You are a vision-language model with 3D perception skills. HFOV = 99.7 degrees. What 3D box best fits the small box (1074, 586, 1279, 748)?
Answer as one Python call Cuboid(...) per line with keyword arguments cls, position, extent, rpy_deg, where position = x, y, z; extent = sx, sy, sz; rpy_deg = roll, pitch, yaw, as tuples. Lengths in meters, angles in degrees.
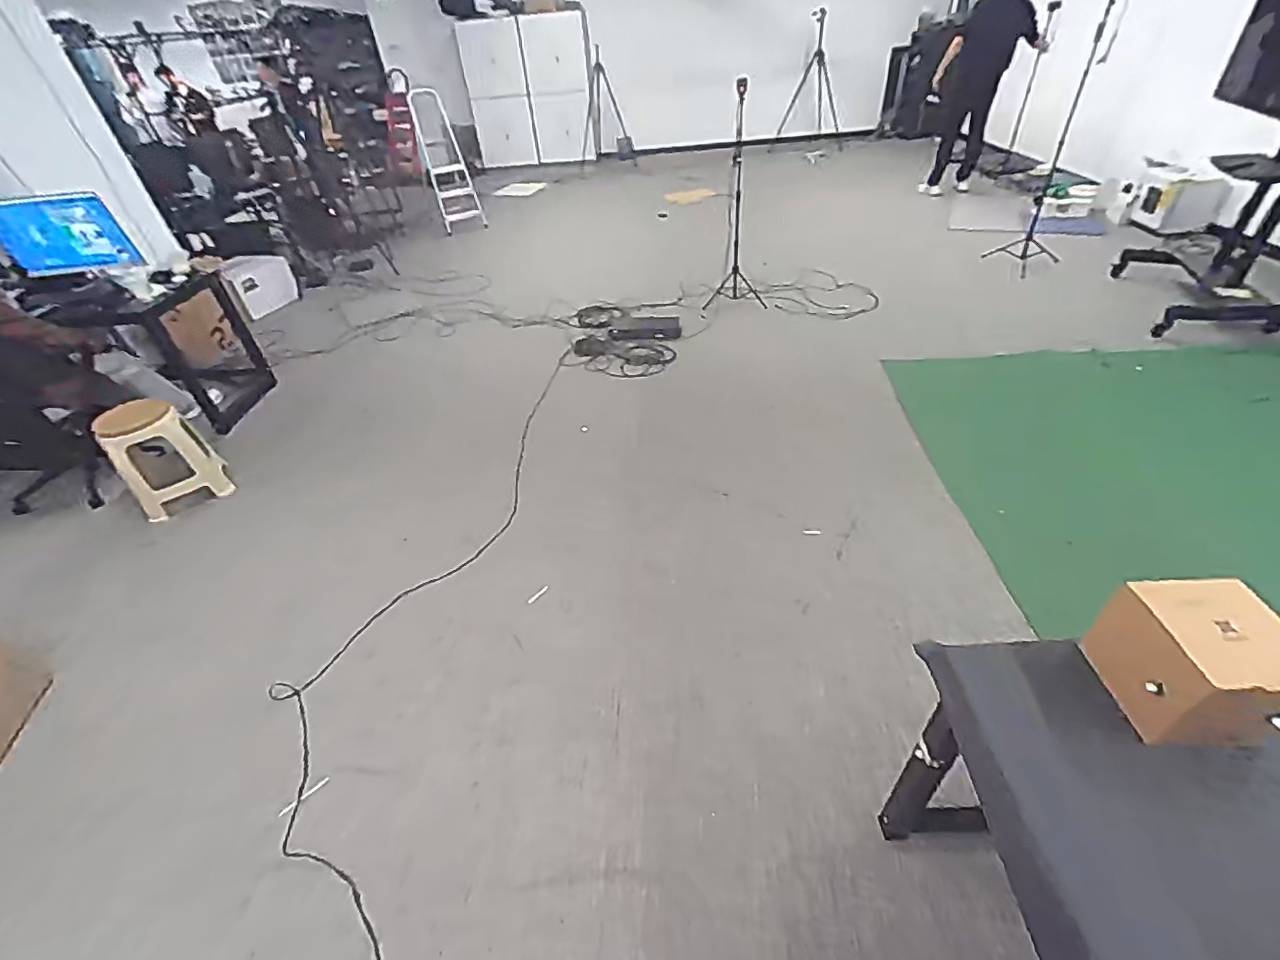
Cuboid(cls="small box", position=(0.815, 0.281, 0.808), extent=(0.168, 0.176, 0.179), rpy_deg=(-1, 37, 0))
